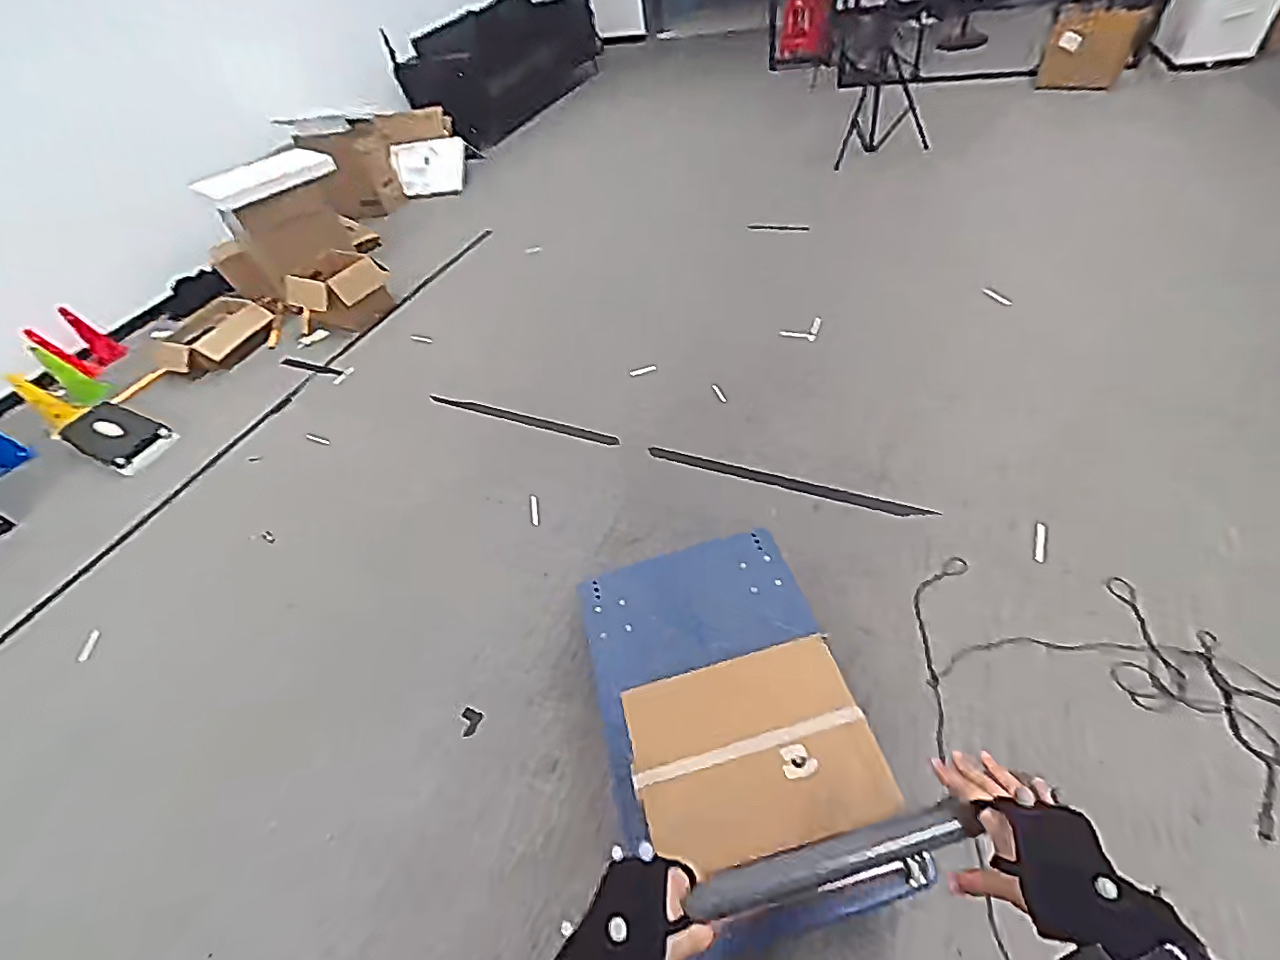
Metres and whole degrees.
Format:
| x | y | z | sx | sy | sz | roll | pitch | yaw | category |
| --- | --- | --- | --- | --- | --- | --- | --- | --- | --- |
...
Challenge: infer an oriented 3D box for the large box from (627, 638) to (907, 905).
| x | y | z | sx | sy | sz | roll | pitch | yaw | category |
| --- | --- | --- | --- | --- | --- | --- | --- | --- | --- |
| 0.219 | 0.565 | 1.047 | 0.408 | 0.320 | 0.320 | -16 | 48 | -3 | large box |
